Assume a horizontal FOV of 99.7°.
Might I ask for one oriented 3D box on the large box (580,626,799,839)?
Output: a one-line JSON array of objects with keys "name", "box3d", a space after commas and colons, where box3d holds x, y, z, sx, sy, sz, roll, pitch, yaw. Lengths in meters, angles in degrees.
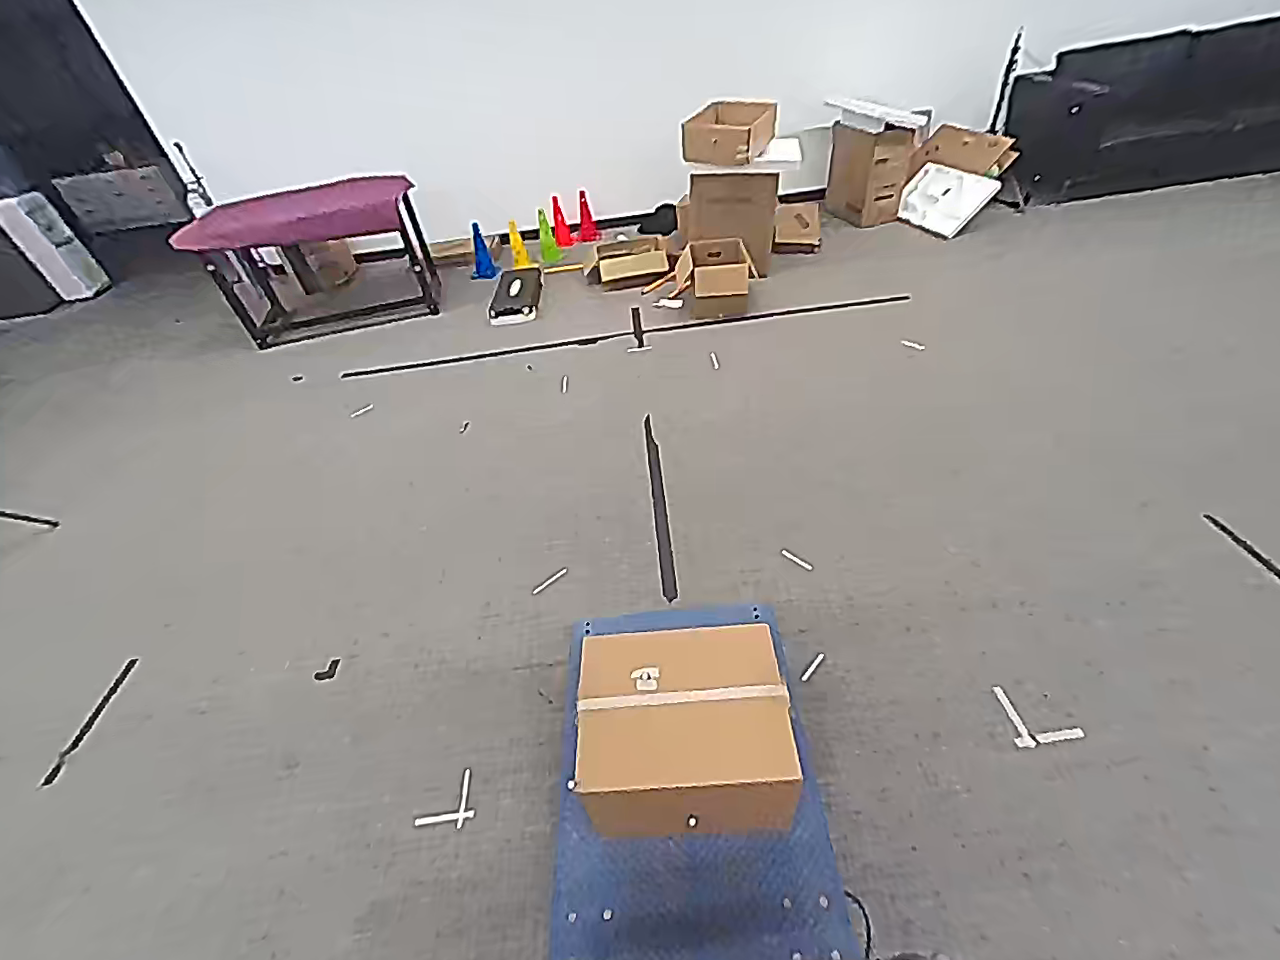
[{"name": "large box", "box3d": [0.101, 0.553, 1.177, 0.408, 0.320, 0.320, -7, 41, 4]}]
